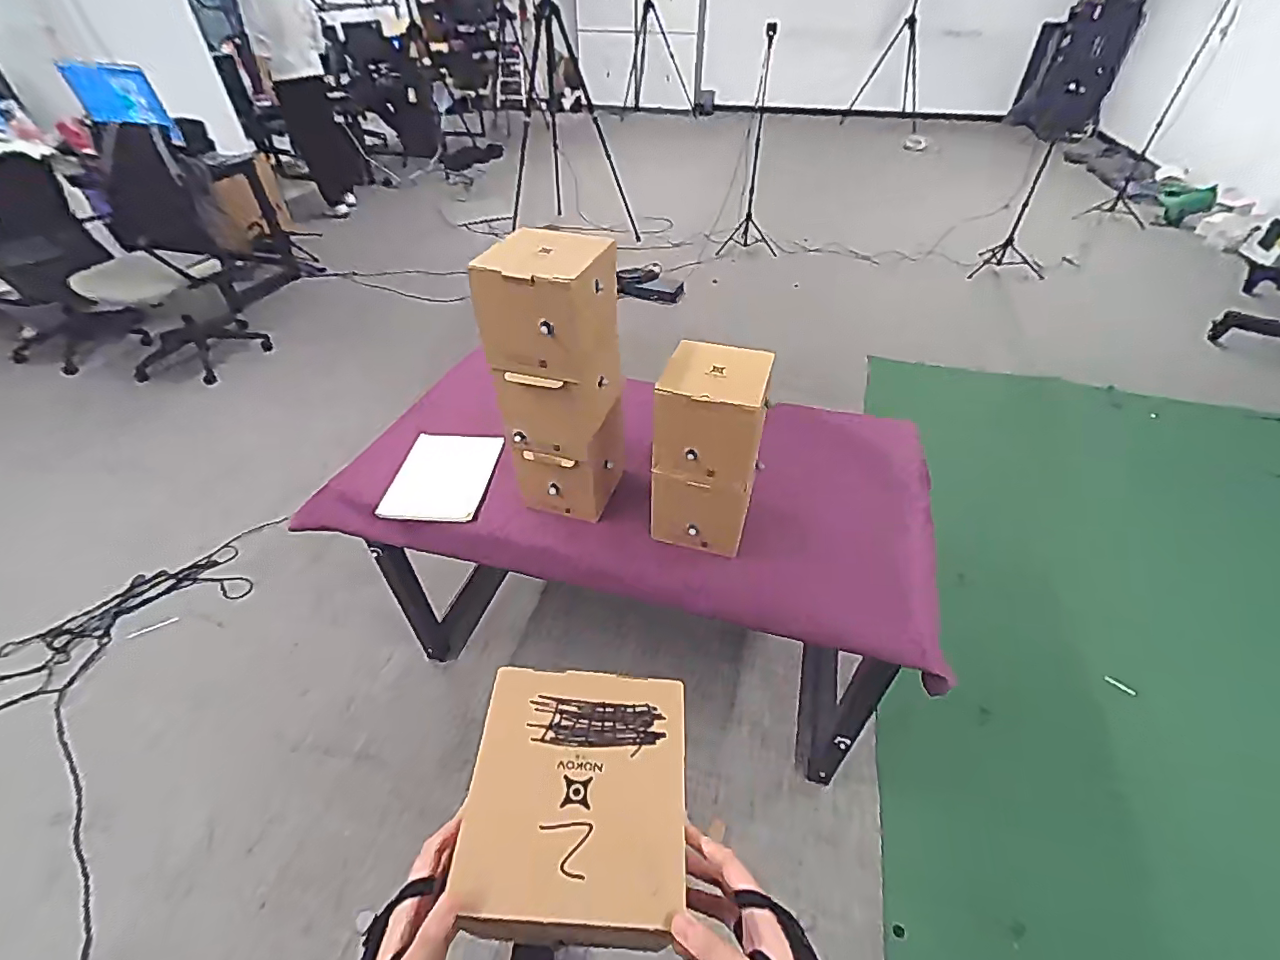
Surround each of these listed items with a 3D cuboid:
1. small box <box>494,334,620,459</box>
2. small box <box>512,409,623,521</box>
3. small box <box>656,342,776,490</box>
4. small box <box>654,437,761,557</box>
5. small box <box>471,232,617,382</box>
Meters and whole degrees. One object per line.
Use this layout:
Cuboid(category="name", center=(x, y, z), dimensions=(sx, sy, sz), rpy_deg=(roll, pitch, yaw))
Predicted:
Cuboid(category="small box", center=(-0.137, -0.160, 0.980), dimensions=(0.168, 0.176, 0.179), rpy_deg=(12, 43, 13))
Cuboid(category="small box", center=(-0.135, -0.043, 1.096), dimensions=(0.168, 0.176, 0.179), rpy_deg=(13, 45, 13))
Cuboid(category="small box", center=(0.126, -0.110, 0.926), dimensions=(0.168, 0.176, 0.179), rpy_deg=(13, 43, 13))
Cuboid(category="small box", center=(0.126, 0.015, 1.029), dimensions=(0.168, 0.176, 0.179), rpy_deg=(12, 43, 14))
Cuboid(category="small box", center=(-0.139, -0.277, 0.867), dimensions=(0.168, 0.176, 0.179), rpy_deg=(13, 44, 13))
